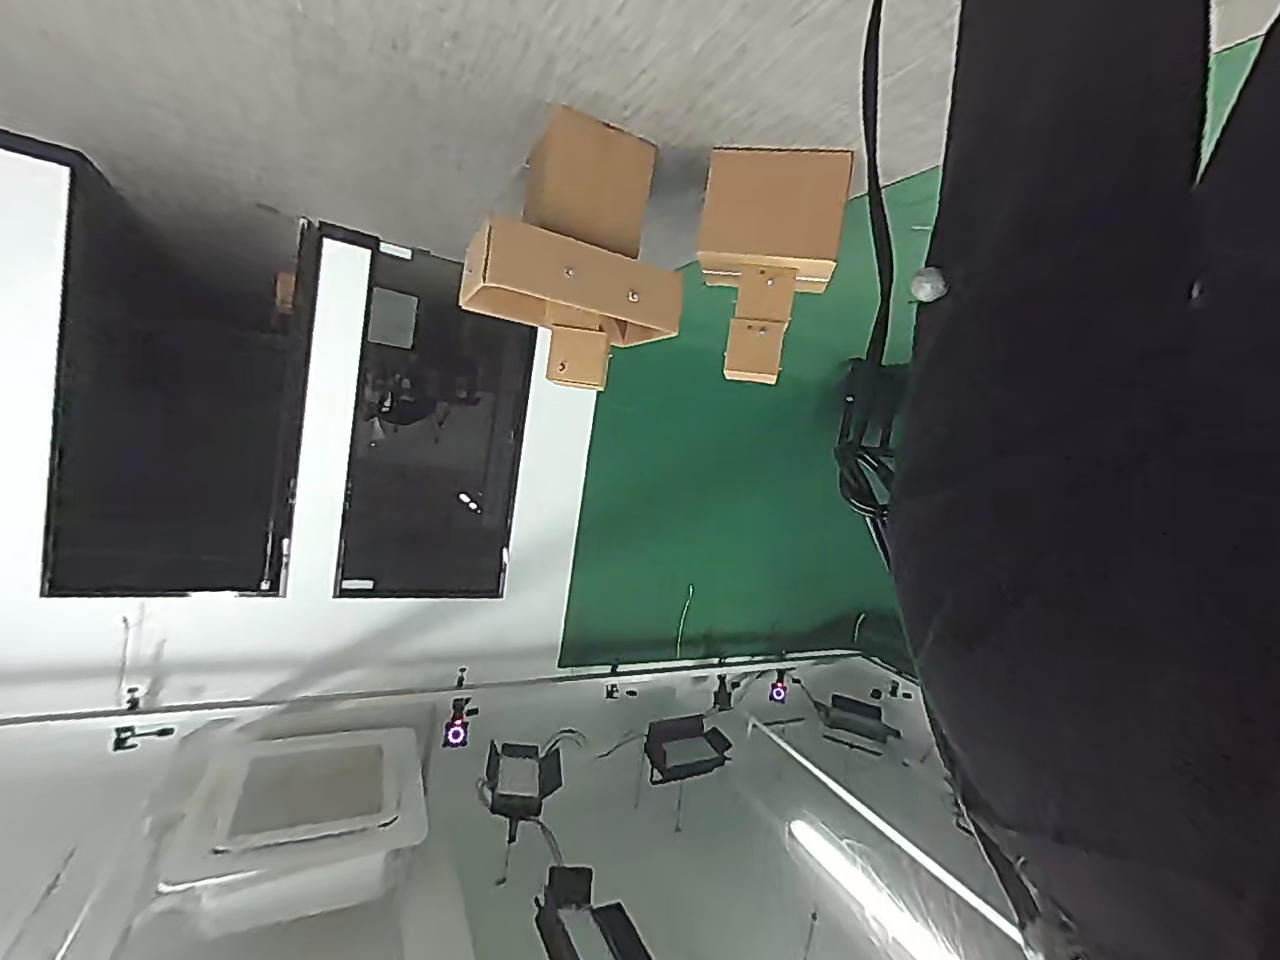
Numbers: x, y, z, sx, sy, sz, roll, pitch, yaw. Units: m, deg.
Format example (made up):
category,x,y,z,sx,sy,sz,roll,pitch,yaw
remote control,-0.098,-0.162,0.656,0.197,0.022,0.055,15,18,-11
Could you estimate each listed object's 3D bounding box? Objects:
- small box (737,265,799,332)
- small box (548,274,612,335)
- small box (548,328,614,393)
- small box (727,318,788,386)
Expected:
category,x,y,z,sx,sy,sz,roll,pitch,yaw
small box,0.404,-0.567,1.723,0.168,0.176,0.179,9,-177,9
small box,-0.188,-0.552,1.742,0.179,0.176,0.168,8,-178,2
small box,-0.187,-0.385,1.743,0.179,0.176,0.168,8,-176,1
small box,0.374,-0.406,1.728,0.168,0.176,0.179,8,-177,11
